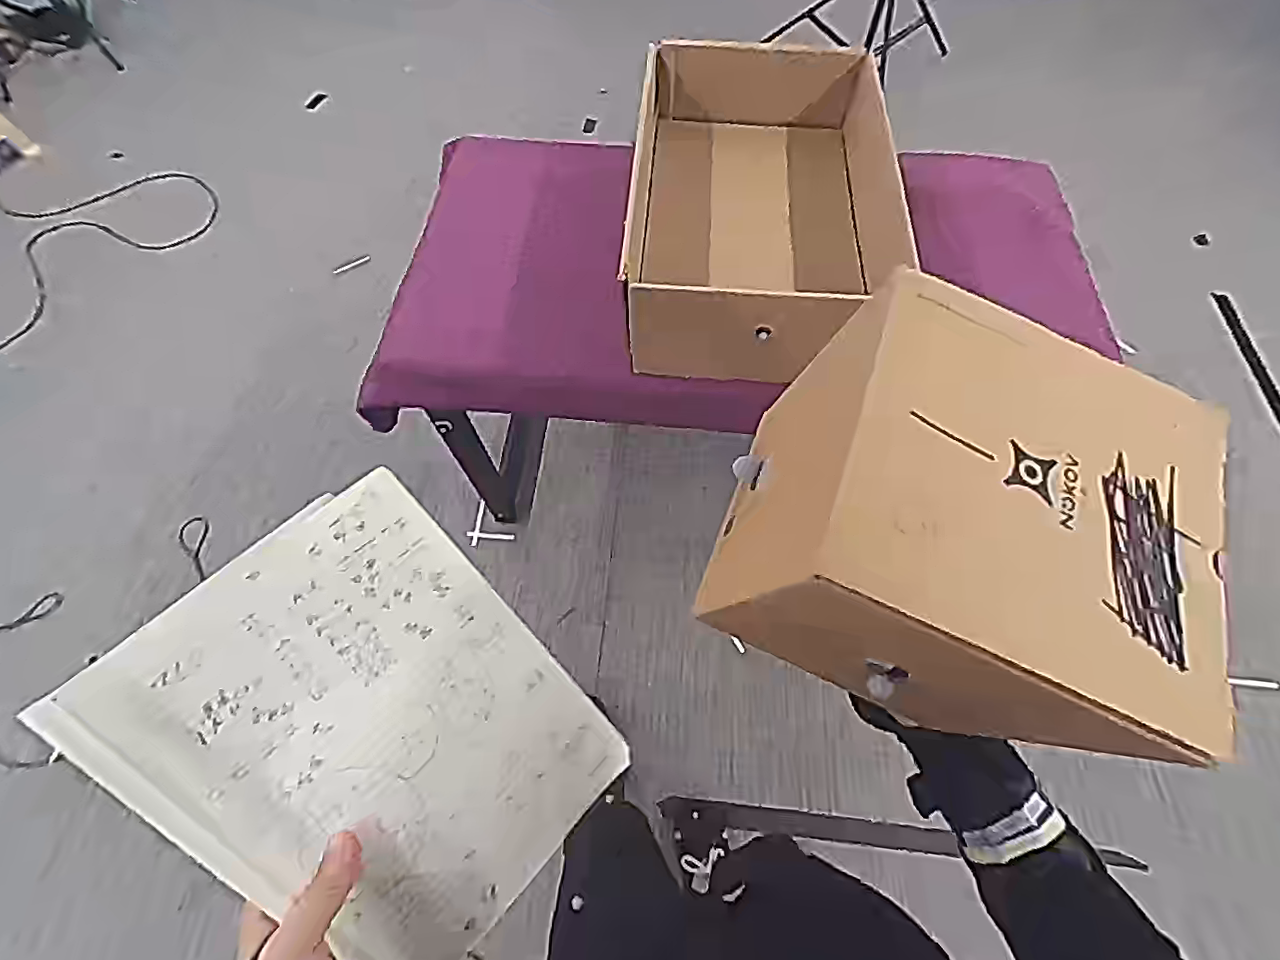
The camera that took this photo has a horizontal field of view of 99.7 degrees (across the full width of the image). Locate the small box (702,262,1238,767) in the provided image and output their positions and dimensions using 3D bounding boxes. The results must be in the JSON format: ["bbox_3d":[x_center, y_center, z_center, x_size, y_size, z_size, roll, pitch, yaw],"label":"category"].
[{"bbox_3d":[0.159,0.027,0.301,0.179,0.176,0.168,26,68,-1],"label":"small box"}]
